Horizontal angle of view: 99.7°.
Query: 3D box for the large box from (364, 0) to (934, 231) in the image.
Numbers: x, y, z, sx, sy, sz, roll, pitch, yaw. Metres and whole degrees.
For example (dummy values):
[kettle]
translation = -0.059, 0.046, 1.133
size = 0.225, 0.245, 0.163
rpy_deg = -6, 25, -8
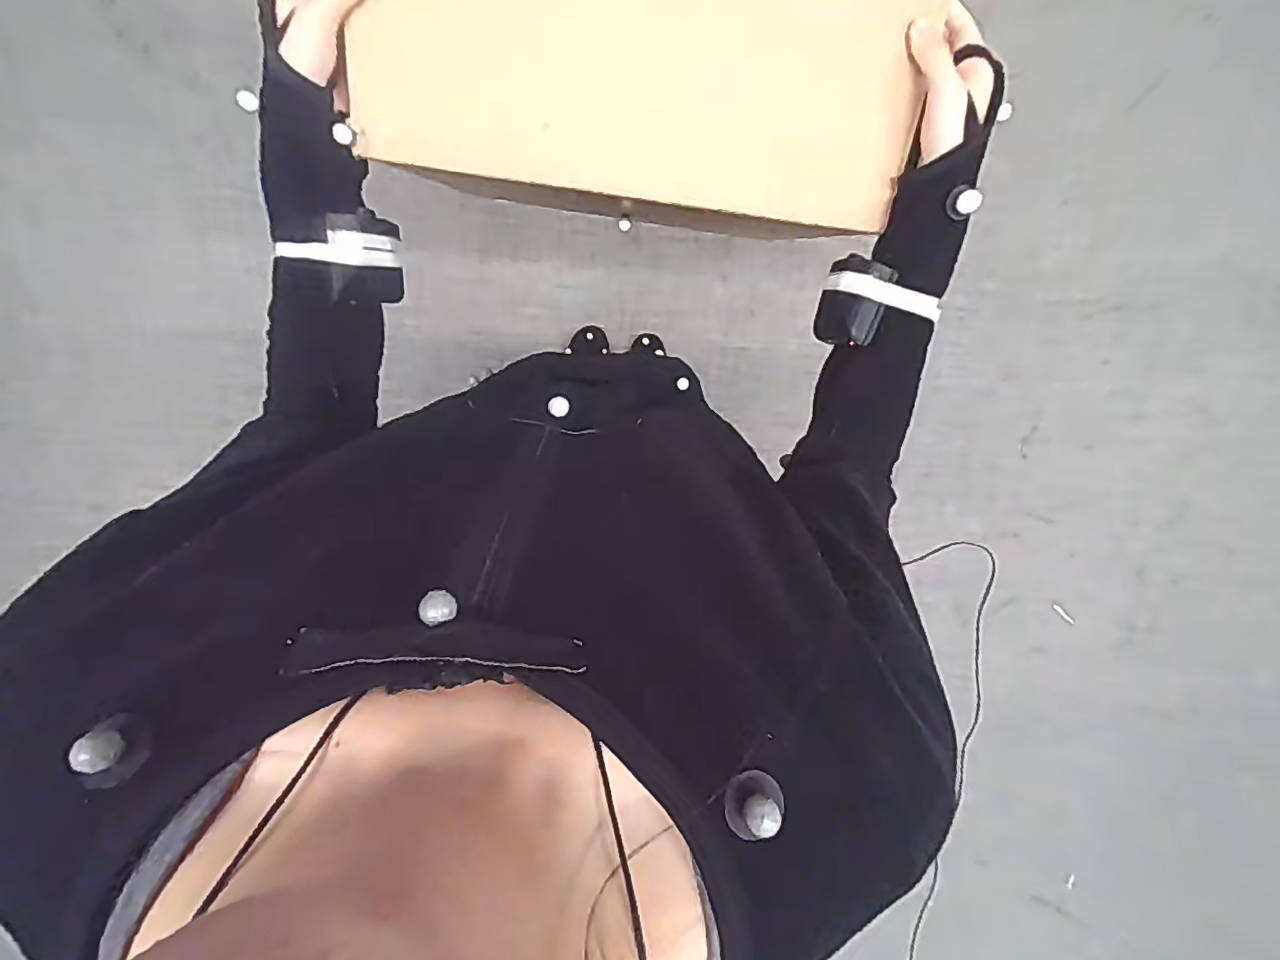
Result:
[large box]
translation = 0.010, -0.421, 0.502
size = 0.408, 0.320, 0.320
rpy_deg = 6, 112, -5
